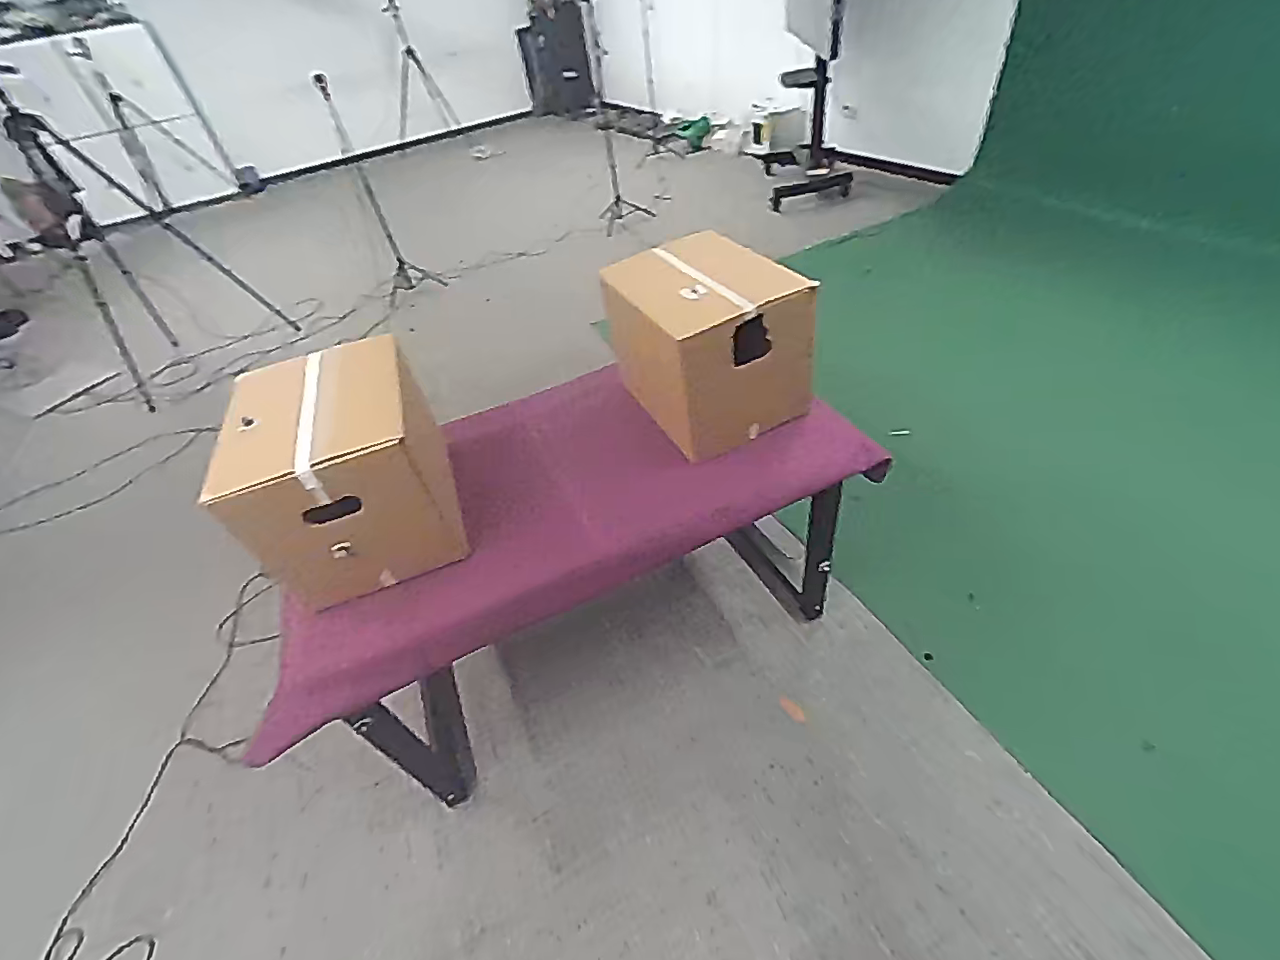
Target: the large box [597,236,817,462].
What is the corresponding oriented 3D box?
[{"bbox_3d":[0.143,-0.313,1.245,0.320,0.320,0.408,-25,46,-12],"label":"large box"}]
